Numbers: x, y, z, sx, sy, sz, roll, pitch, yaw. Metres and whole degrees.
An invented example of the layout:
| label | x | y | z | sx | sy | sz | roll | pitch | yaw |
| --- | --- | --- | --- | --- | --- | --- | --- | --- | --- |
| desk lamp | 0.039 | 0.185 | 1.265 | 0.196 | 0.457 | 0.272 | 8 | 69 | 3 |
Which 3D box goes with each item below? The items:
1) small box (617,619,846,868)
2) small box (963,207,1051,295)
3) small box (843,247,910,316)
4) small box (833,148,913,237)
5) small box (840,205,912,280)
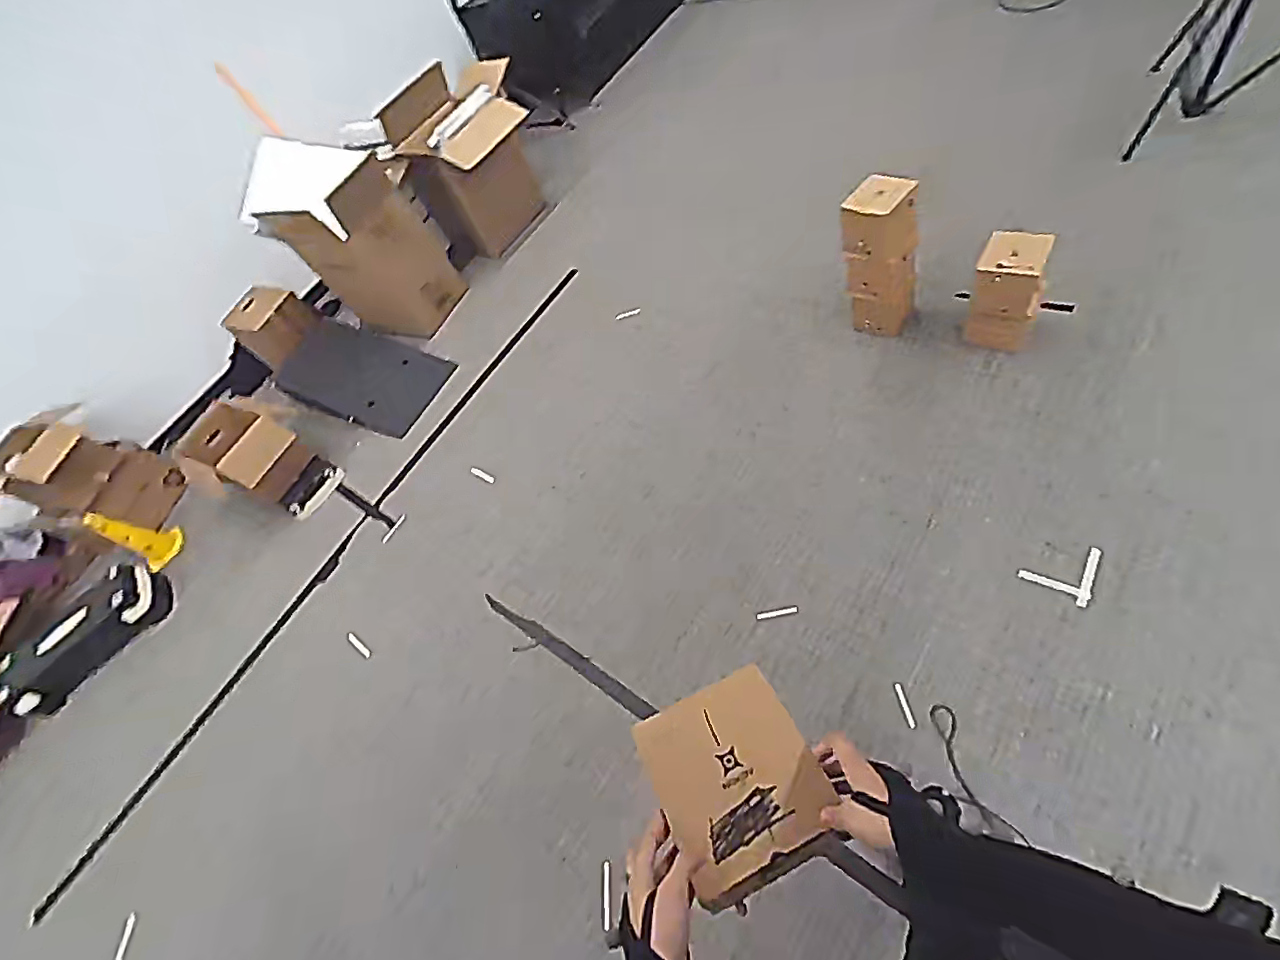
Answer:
| label | x | y | z | sx | sy | sz | roll | pitch | yaw |
| --- | --- | --- | --- | --- | --- | --- | --- | --- | --- |
| small box | 0.095 | 0.291 | 0.588 | 0.168 | 0.176 | 0.179 | -24 | 49 | -9 |
| small box | 1.104 | -0.695 | 1.638 | 0.168 | 0.176 | 0.179 | 22 | 68 | 31 |
| small box | 0.856 | -0.727 | 1.960 | 0.168 | 0.176 | 0.179 | 25 | 71 | 34 |
| small box | 0.738 | -0.914 | 1.721 | 0.179 | 0.176 | 0.168 | -47 | 53 | -10 |
| small box | 0.799 | -0.817 | 1.840 | 0.168 | 0.176 | 0.179 | 29 | 73 | 34 |
